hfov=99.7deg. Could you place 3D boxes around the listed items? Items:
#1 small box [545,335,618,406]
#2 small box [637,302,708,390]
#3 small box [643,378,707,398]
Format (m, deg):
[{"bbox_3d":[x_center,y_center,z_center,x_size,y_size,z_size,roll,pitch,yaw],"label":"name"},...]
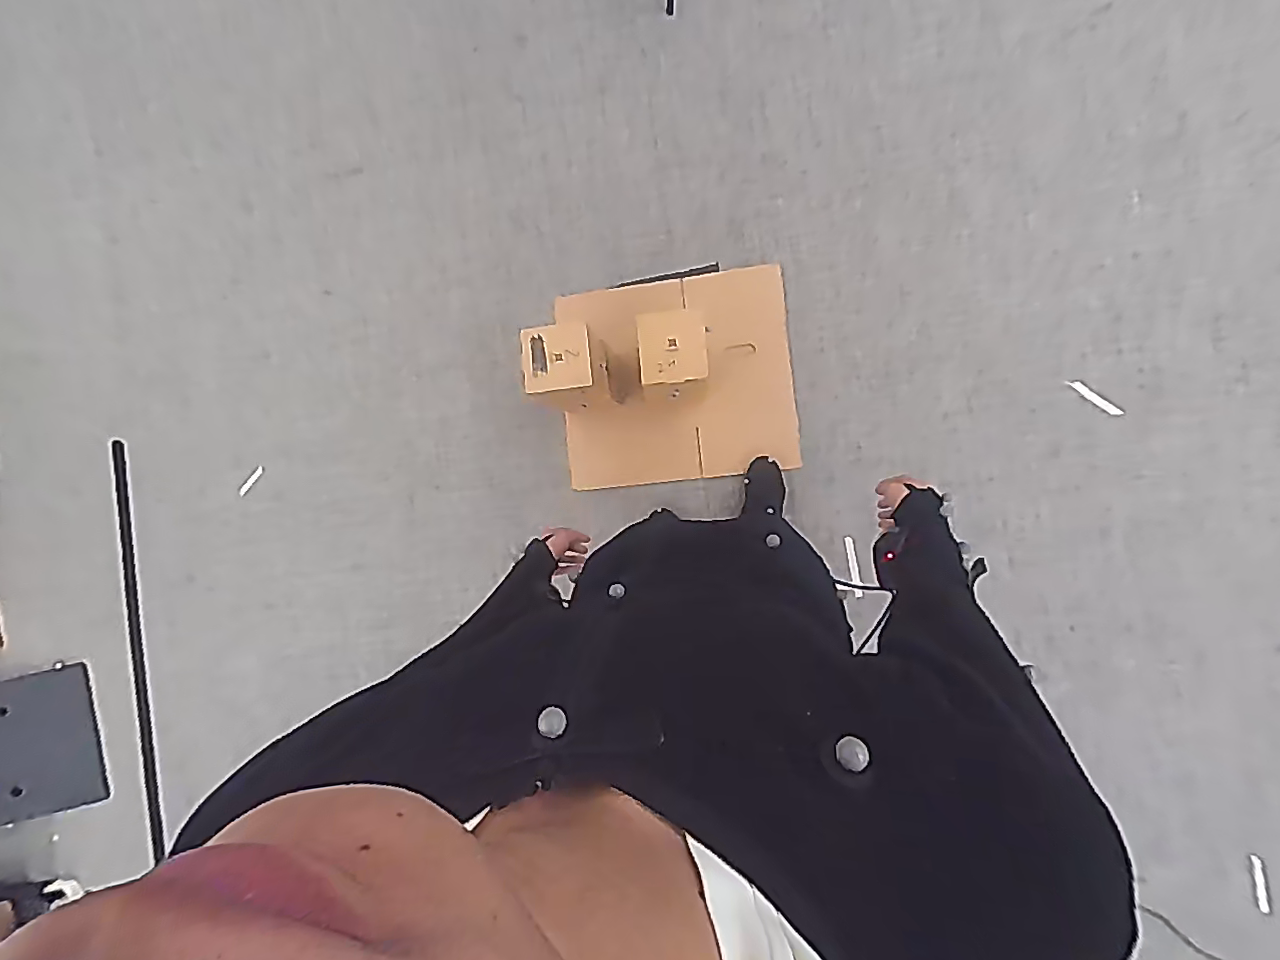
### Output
[{"bbox_3d":[-0.164,-0.315,1.585,0.179,0.176,0.168,-6,89,9],"label":"small box"},{"bbox_3d":[0.086,-0.337,1.385,0.168,0.176,0.179,-4,90,8],"label":"small box"},{"bbox_3d":[0.099,-0.333,1.549,0.179,0.176,0.168,-4,90,8],"label":"small box"}]
